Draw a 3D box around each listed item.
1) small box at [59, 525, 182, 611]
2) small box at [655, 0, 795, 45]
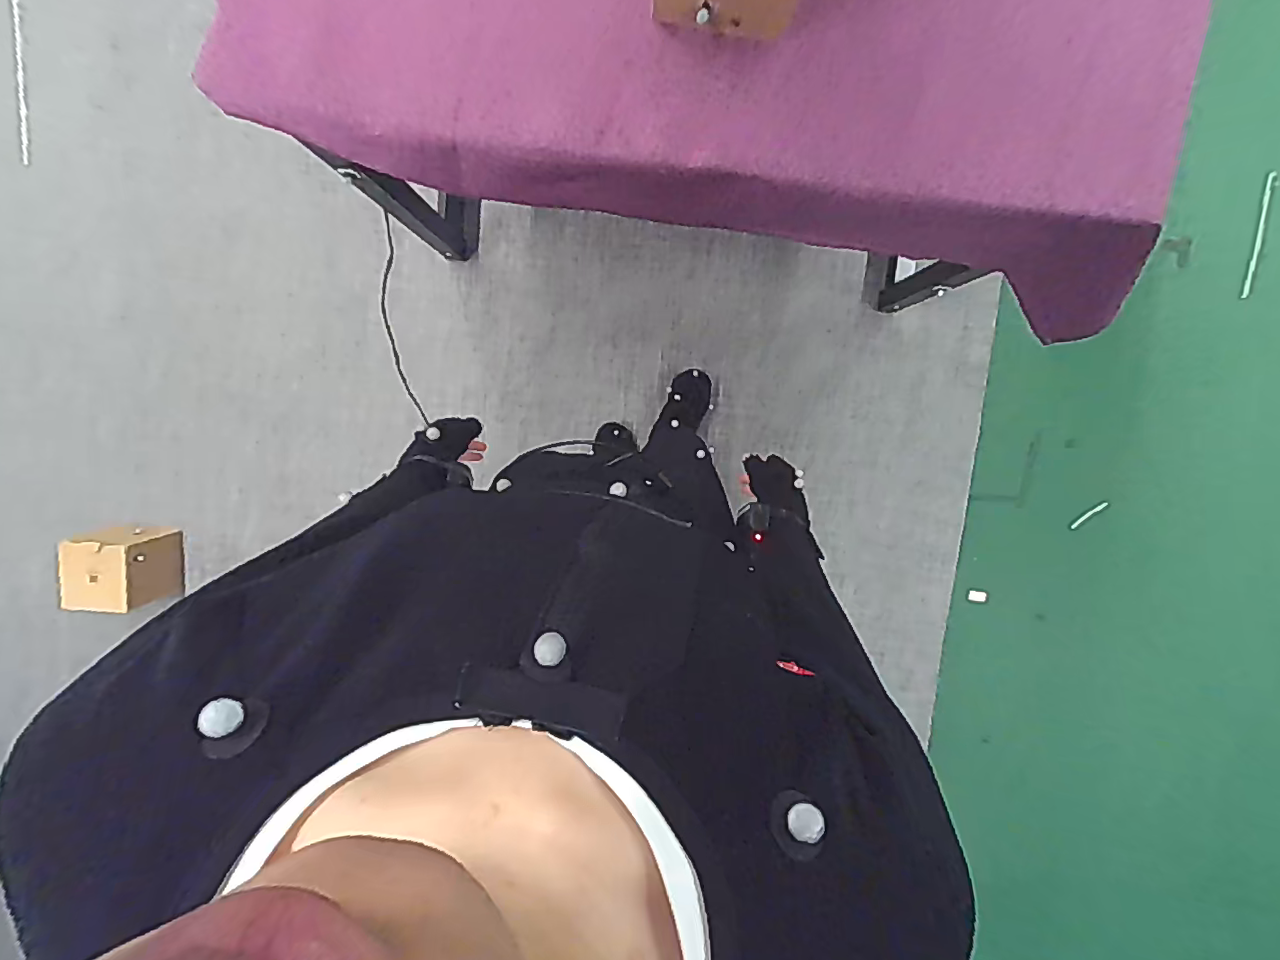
[{"bbox_3d":[-1.345,0.225,1.411,0.168,0.176,0.179,4,97,-1],"label":"small box"},{"bbox_3d":[0.110,-0.634,0.587,0.168,0.176,0.179,10,97,-1],"label":"small box"}]
